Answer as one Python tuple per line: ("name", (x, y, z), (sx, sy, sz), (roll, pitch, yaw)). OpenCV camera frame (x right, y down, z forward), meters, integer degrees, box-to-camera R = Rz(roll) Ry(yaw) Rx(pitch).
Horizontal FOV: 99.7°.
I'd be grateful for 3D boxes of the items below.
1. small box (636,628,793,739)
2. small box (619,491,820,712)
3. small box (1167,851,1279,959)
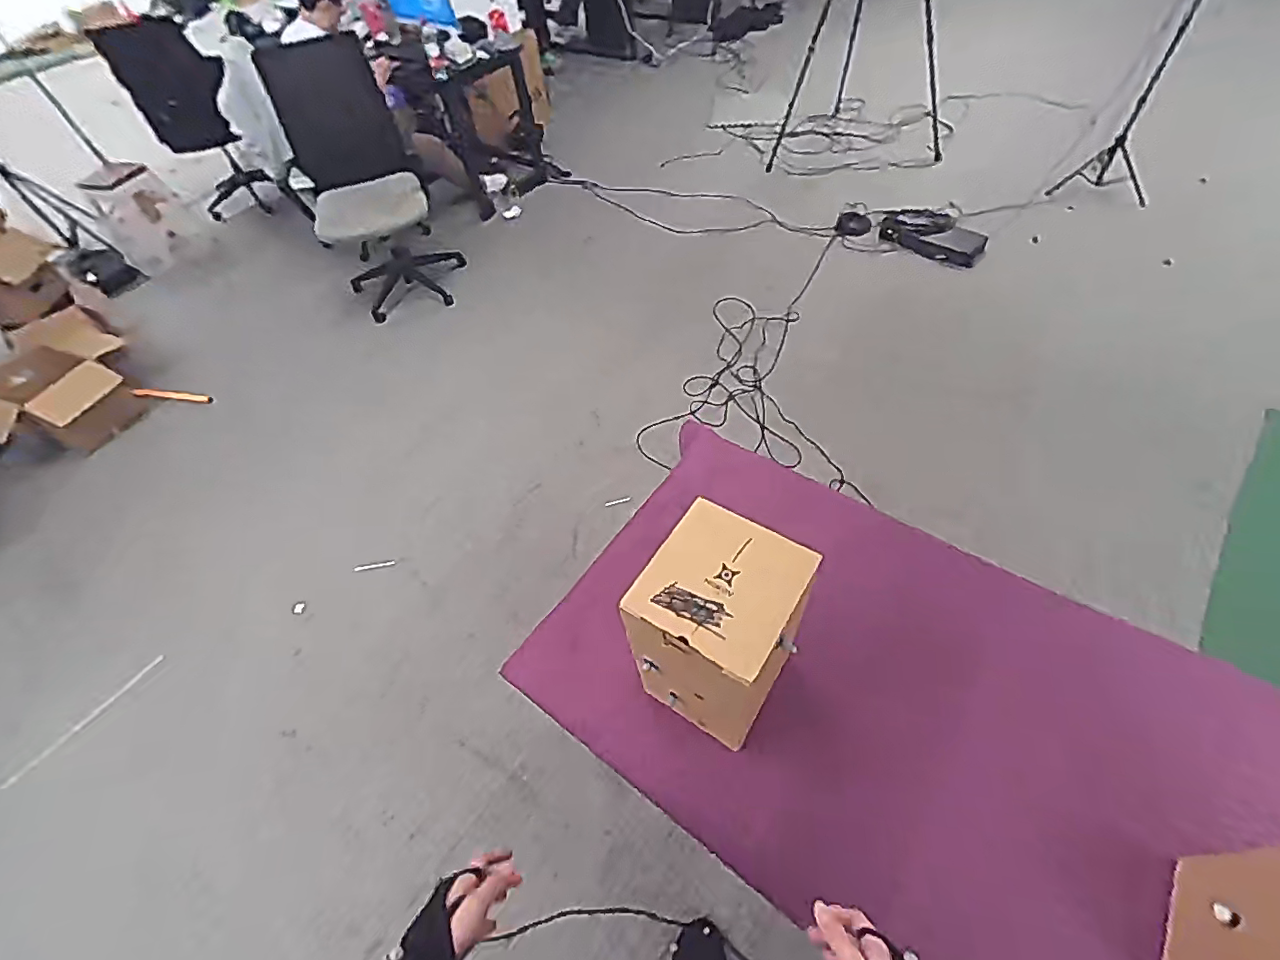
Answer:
("small box", (0.116, 0.250, 0.797), (0.168, 0.176, 0.179), (25, 60, 24))
("small box", (0.099, 0.152, 0.665), (0.168, 0.176, 0.179), (27, 59, 24))
("small box", (0.676, 0.503, 0.533), (0.168, 0.176, 0.179), (27, 60, 26))
